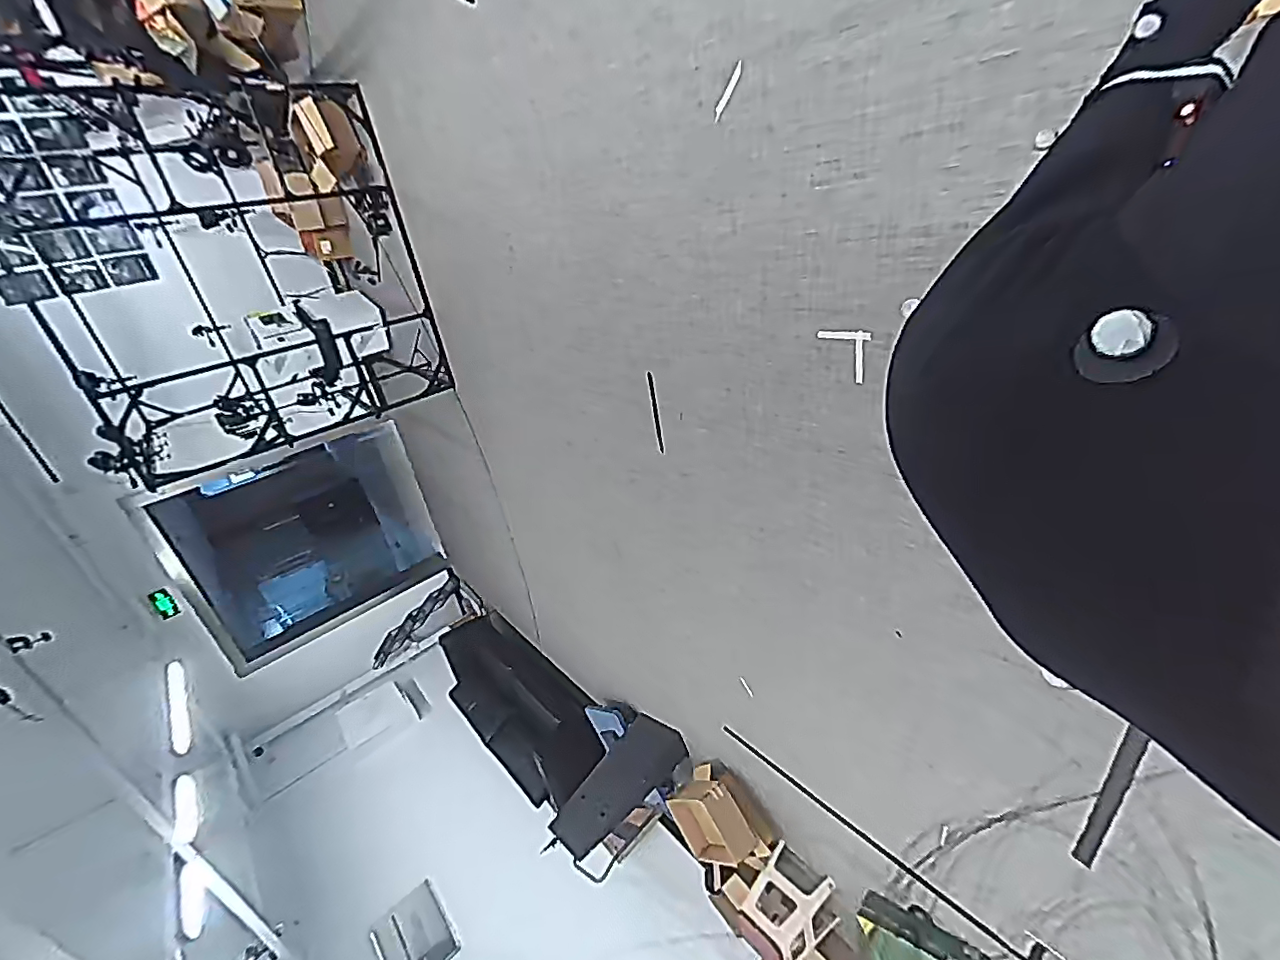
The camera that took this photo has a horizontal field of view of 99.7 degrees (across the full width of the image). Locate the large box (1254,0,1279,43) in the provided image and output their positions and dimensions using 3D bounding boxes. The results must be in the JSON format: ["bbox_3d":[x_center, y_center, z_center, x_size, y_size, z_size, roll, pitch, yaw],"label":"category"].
[{"bbox_3d":[1.008,-0.736,0.579,0.408,0.320,0.320,19,128,46],"label":"large box"}]
